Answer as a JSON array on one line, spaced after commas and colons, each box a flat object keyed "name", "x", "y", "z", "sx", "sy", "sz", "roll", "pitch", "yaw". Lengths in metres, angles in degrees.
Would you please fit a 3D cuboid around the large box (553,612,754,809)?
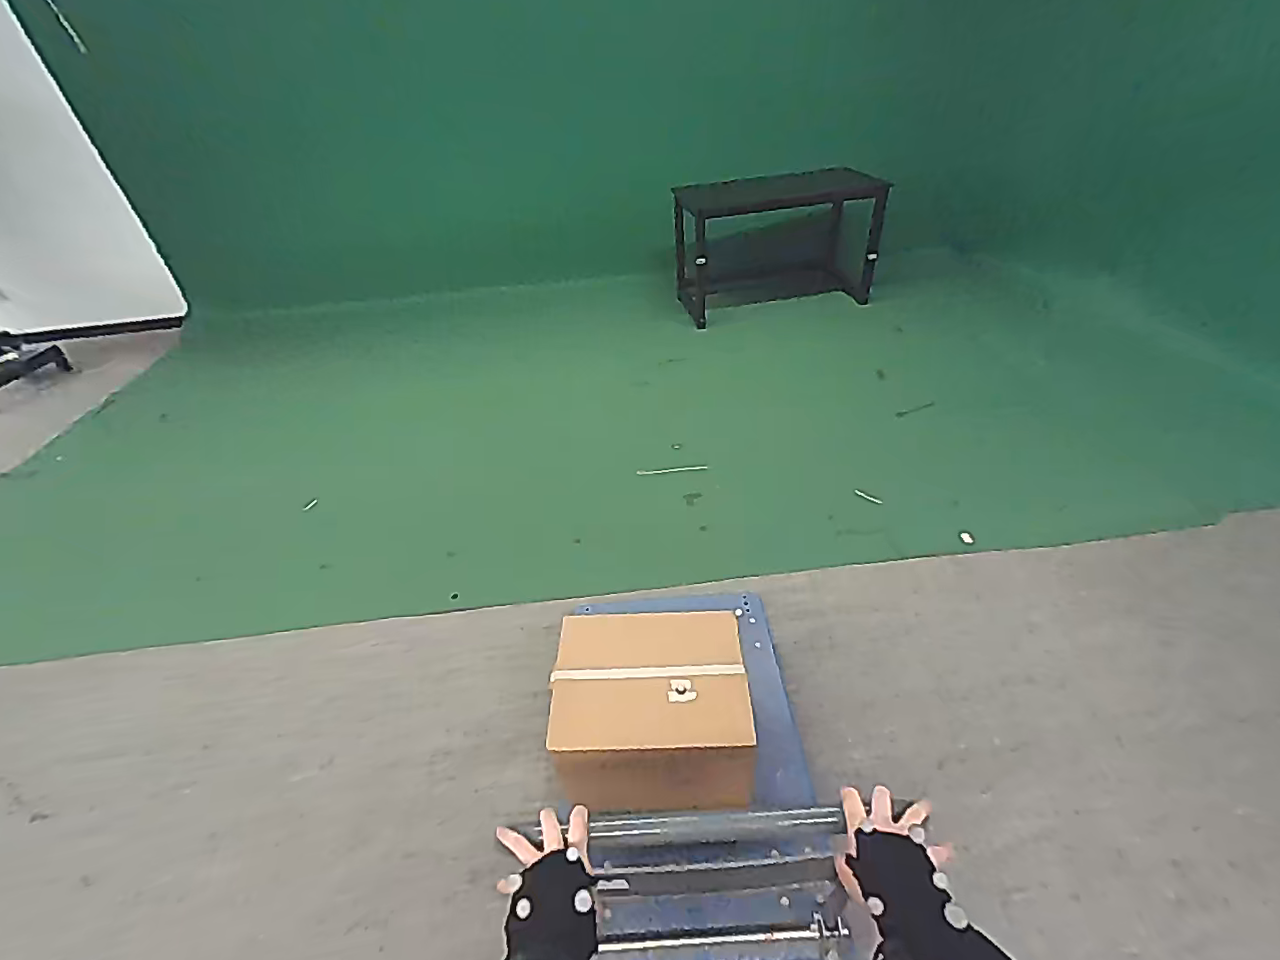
[{"name": "large box", "x": 0.029, "y": 0.533, "z": 1.257, "sx": 0.408, "sy": 0.320, "sz": 0.320, "roll": -2, "pitch": 39, "yaw": 2}]
